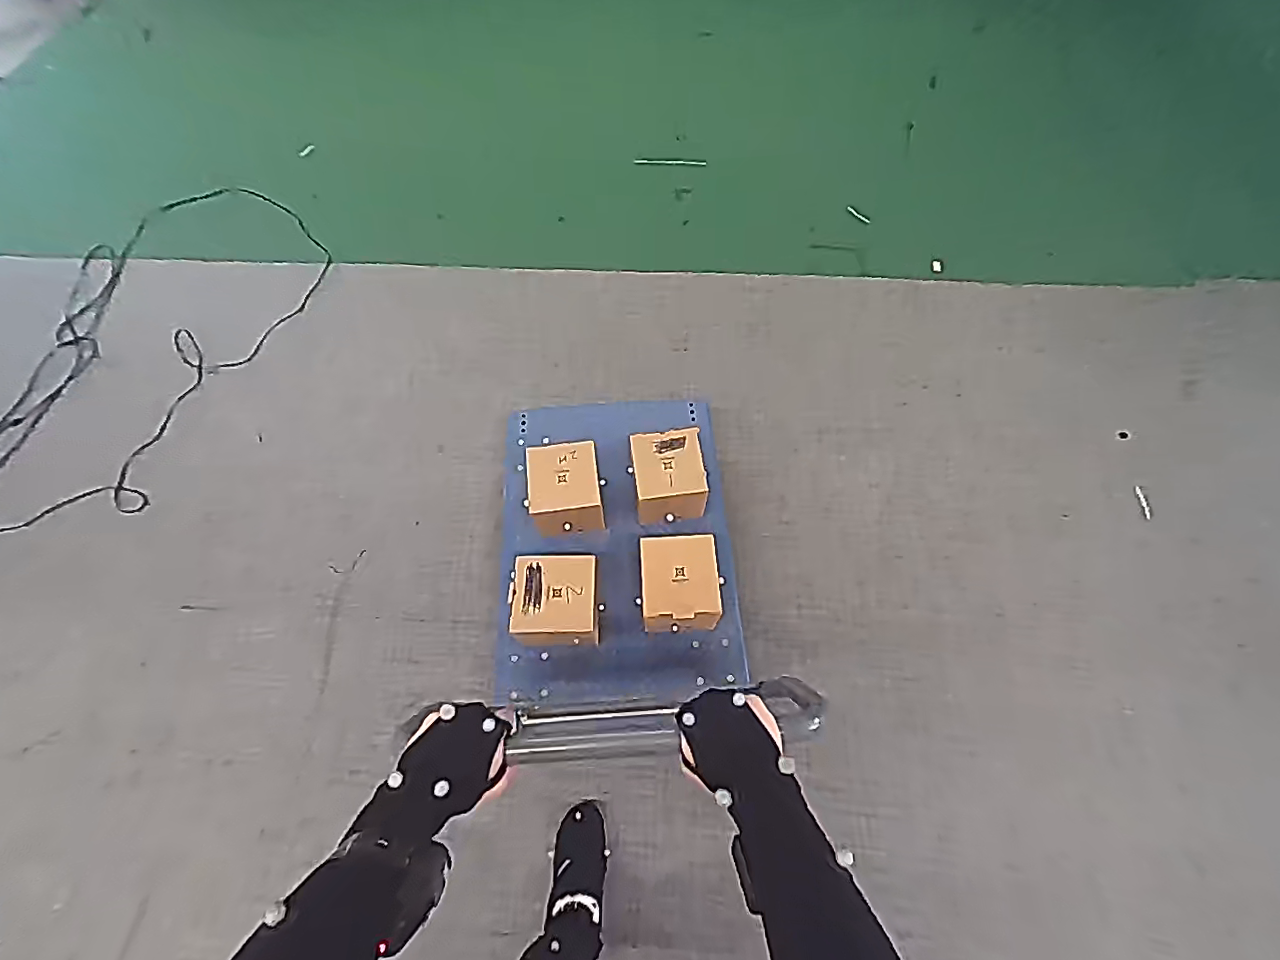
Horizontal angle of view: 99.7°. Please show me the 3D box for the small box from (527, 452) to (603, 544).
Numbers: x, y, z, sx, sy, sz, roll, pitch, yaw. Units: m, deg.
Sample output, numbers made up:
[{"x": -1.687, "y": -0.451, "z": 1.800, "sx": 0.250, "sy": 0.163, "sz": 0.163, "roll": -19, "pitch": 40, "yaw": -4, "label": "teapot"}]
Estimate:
[{"x": -0.184, "y": 0.053, "z": 1.358, "sx": 0.168, "sy": 0.176, "sz": 0.179, "roll": -7, "pitch": 63, "yaw": -4, "label": "small box"}]

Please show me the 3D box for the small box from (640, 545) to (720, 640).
[{"x": 0.084, "y": 0.262, "z": 1.250, "sx": 0.168, "sy": 0.176, "sz": 0.179, "roll": -3, "pitch": 63, "yaw": -1, "label": "small box"}]

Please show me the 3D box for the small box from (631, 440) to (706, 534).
[{"x": 0.066, "y": 0.021, "z": 1.371, "sx": 0.168, "sy": 0.176, "sz": 0.179, "roll": -7, "pitch": 64, "yaw": -2, "label": "small box"}]
